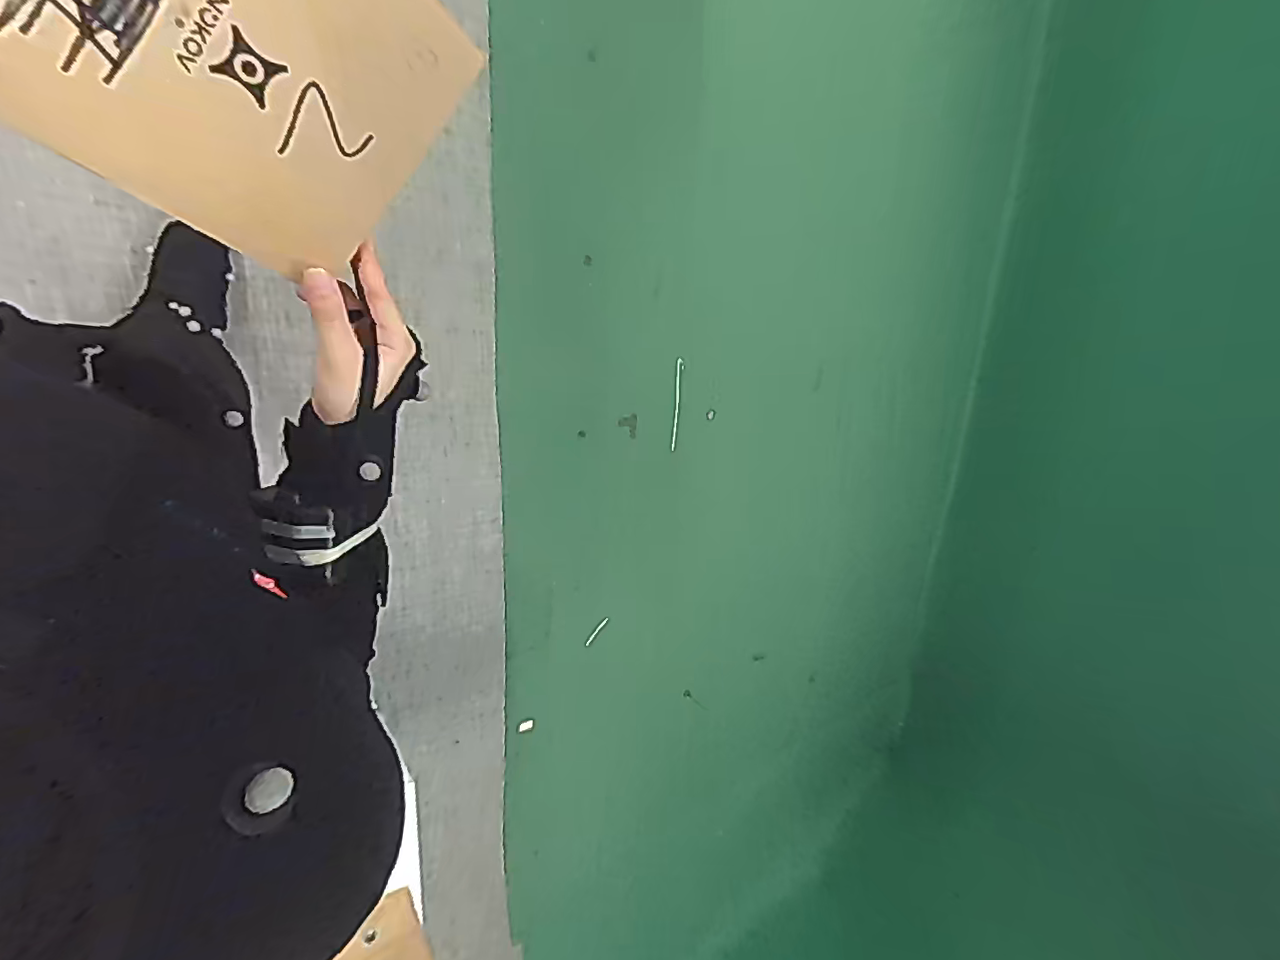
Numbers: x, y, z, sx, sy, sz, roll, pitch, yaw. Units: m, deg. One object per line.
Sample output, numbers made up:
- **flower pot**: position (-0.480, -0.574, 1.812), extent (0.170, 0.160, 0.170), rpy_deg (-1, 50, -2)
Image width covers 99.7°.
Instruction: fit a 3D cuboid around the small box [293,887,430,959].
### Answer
- **small box**: position (-0.416, 0.782, 0.816), extent (0.168, 0.176, 0.179), rpy_deg (-5, 105, -39)
